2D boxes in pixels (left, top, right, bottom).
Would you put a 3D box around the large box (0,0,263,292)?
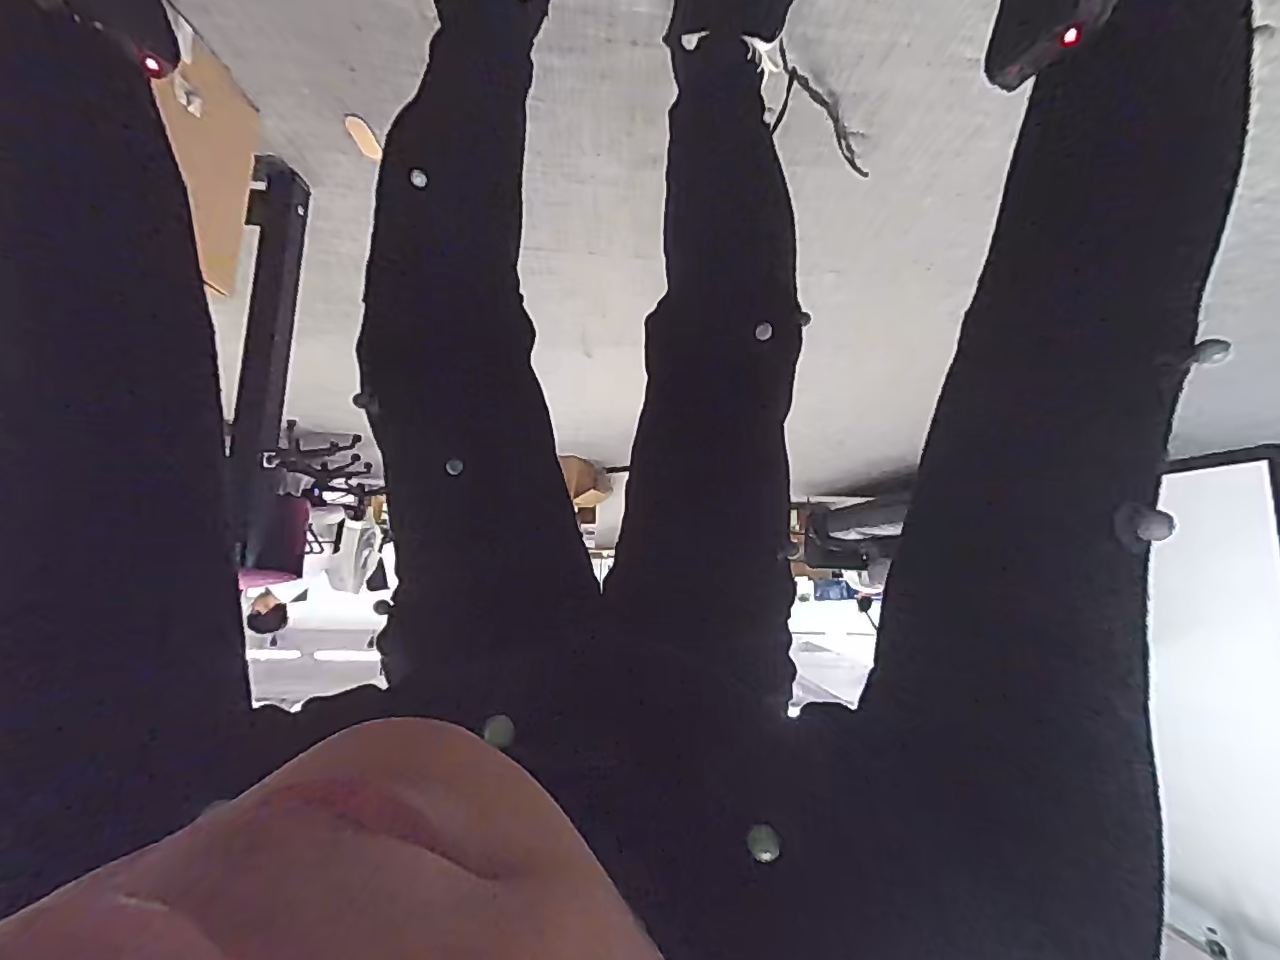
[{"bbox_3d":[-0.780,-0.457,0.665,0.408,0.320,0.320,3,170,-2],"label":"large box"}]
